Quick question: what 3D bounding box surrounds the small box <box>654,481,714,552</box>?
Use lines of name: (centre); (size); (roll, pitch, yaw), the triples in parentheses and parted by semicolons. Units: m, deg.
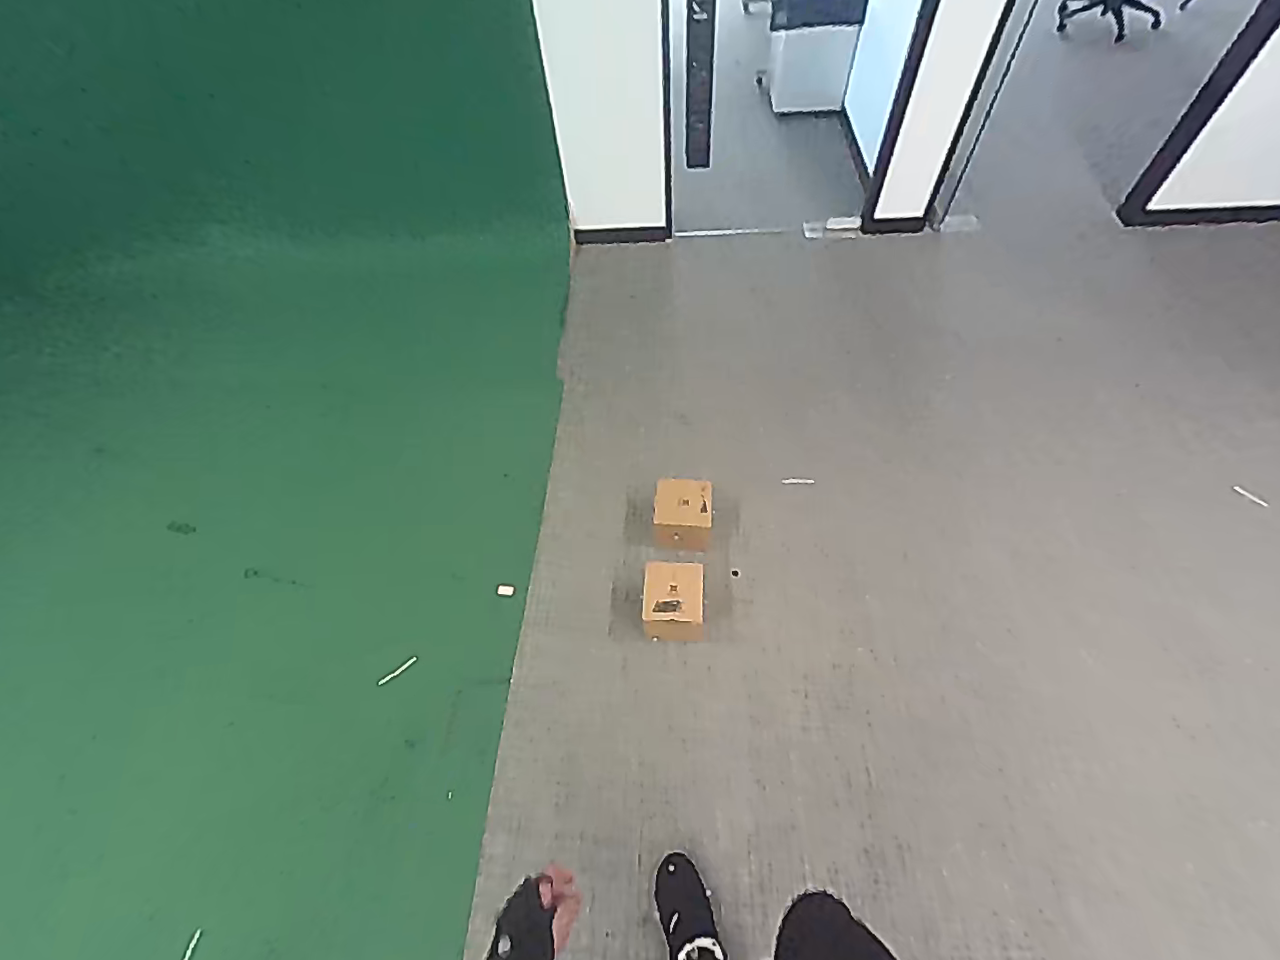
small box: (0.143, 0.118, 1.708); (0.179, 0.176, 0.168); (2, 56, 7)

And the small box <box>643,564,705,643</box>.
small box: (0.101, 0.357, 1.549); (0.168, 0.176, 0.179); (2, 55, 5)
